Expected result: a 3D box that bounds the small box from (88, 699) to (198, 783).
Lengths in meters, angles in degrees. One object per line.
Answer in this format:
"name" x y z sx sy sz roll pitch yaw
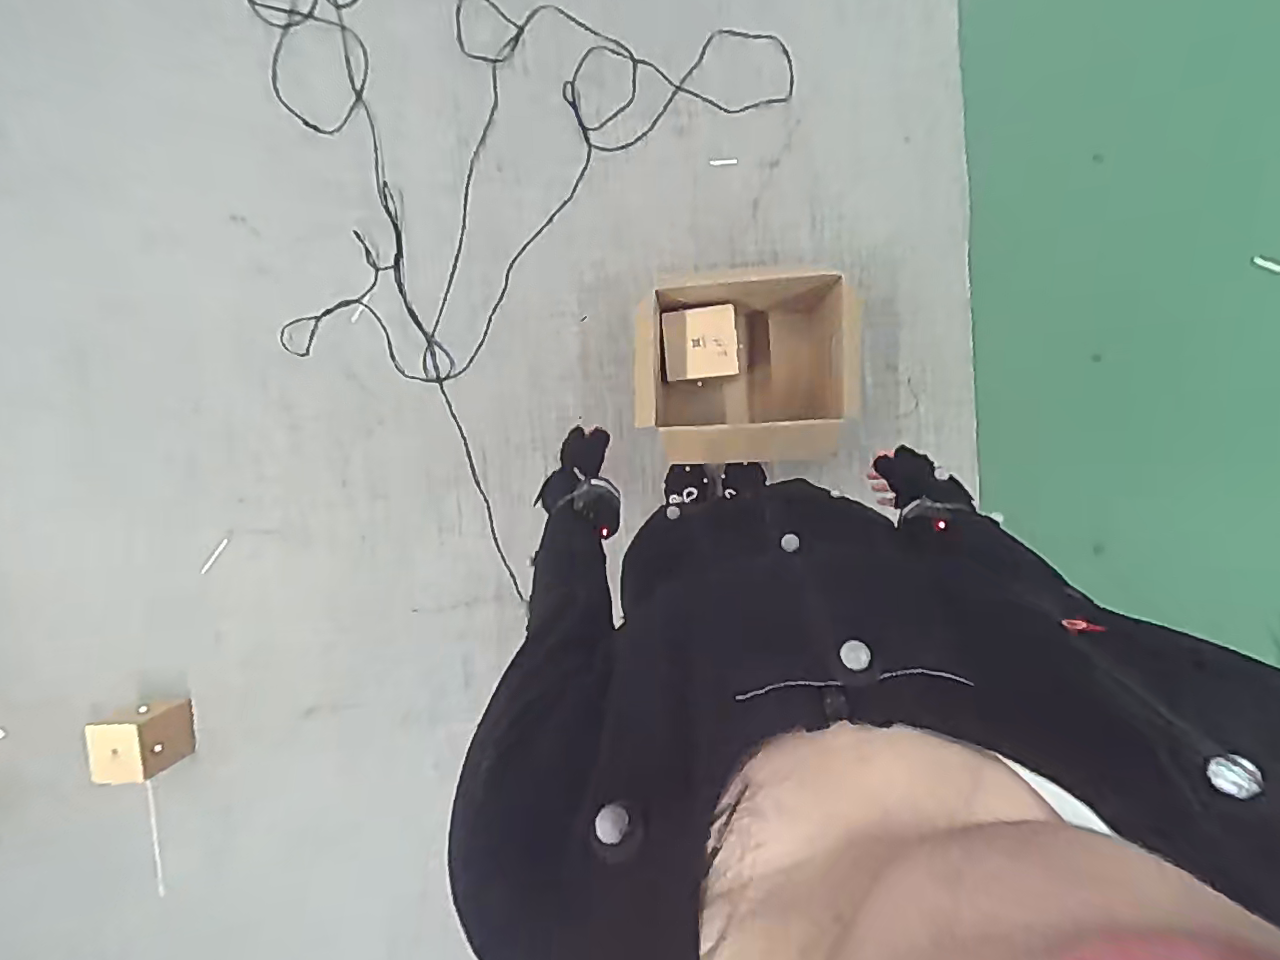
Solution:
"small box" -1.474 0.770 1.613 0.168 0.176 0.179 -5 94 5
